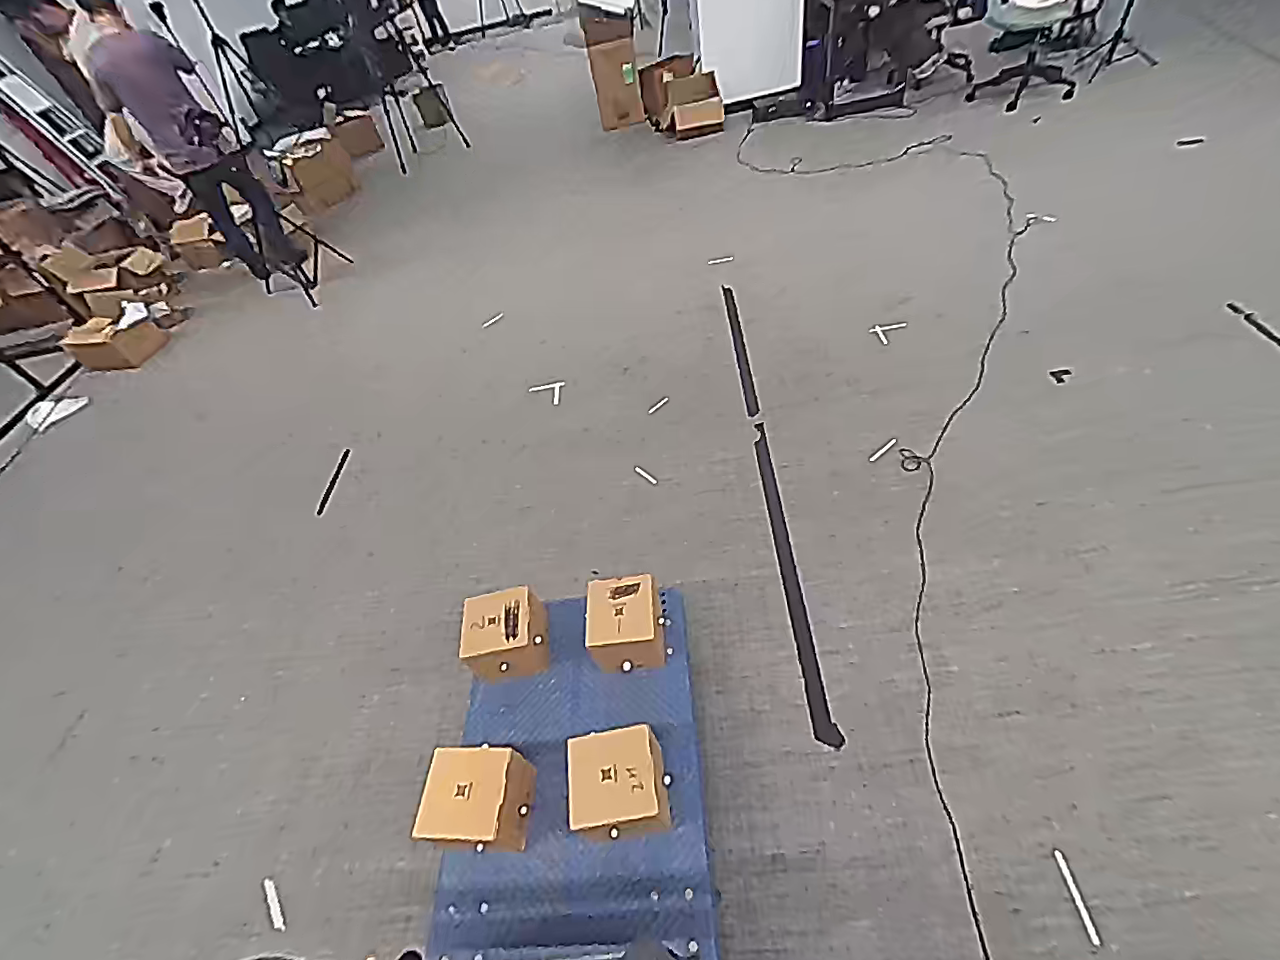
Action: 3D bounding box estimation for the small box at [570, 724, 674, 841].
[{"bbox_3d":[-0.037,0.634,1.126,0.179,0.176,0.168,-12,48,4],"label":"small box"}]

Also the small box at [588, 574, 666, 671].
[{"bbox_3d":[-0.029,0.361,1.363,0.168,0.176,0.179,-8,49,7],"label":"small box"}]

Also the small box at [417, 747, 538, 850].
[{"bbox_3d":[-0.338,0.684,1.159,0.179,0.176,0.168,-5,49,9],"label":"small box"}]
